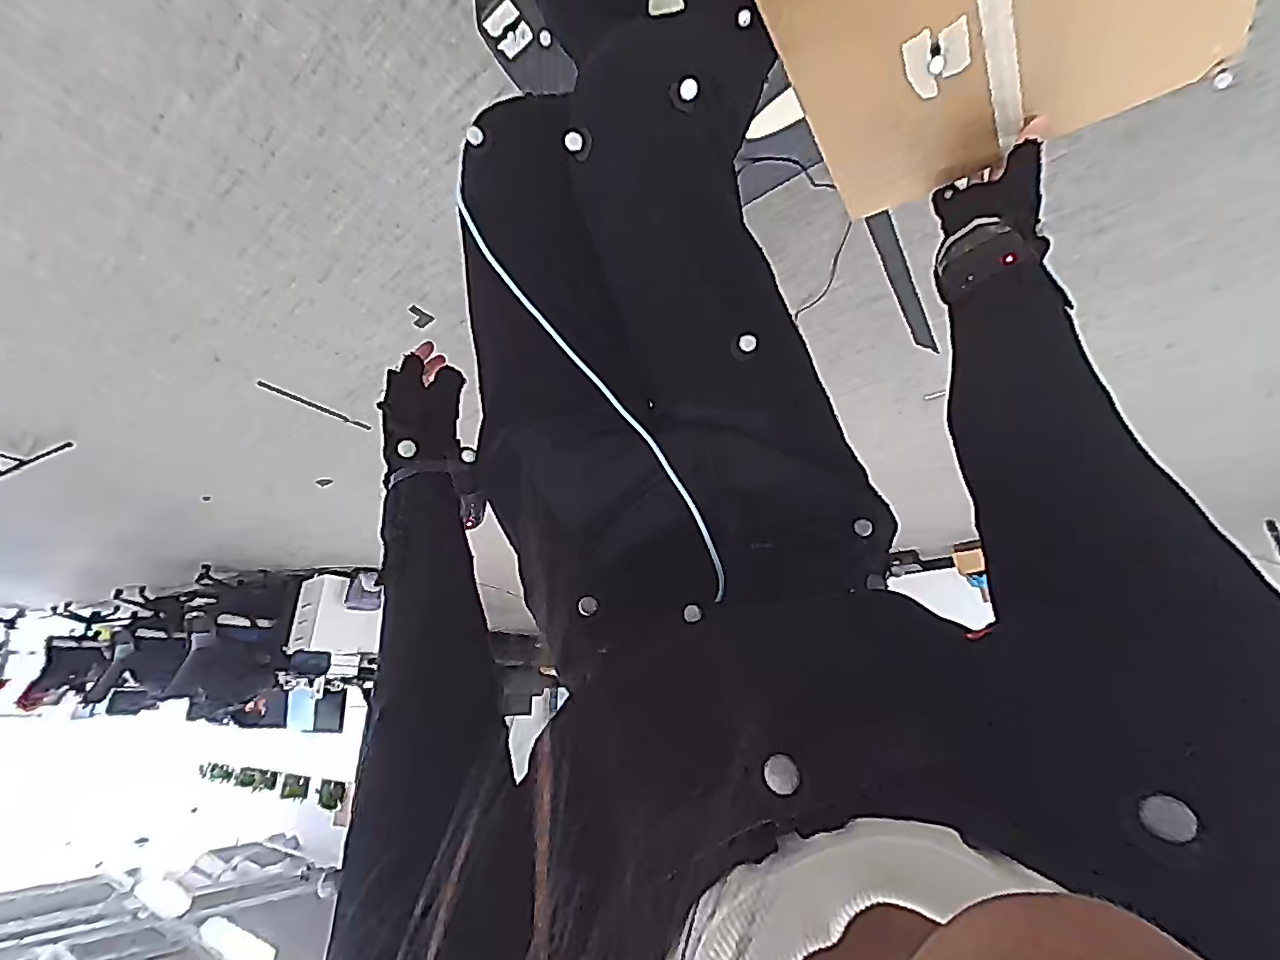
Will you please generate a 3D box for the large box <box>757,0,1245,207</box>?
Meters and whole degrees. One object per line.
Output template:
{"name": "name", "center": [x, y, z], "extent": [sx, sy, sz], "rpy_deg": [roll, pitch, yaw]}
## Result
{"name": "large box", "center": [0.264, -0.543, 0.449], "extent": [0.320, 0.320, 0.408], "rpy_deg": [-9, 154, 37]}
